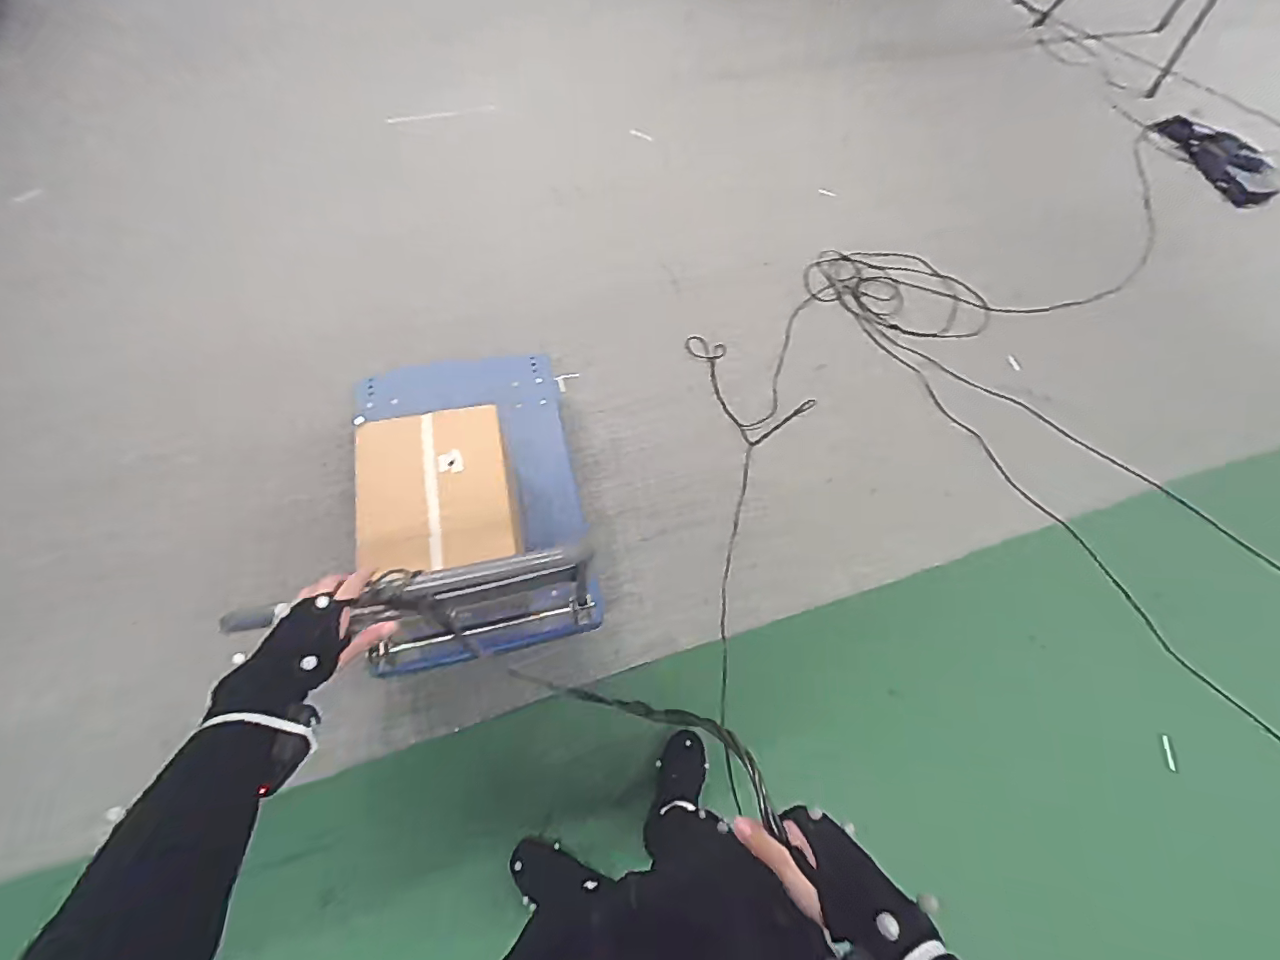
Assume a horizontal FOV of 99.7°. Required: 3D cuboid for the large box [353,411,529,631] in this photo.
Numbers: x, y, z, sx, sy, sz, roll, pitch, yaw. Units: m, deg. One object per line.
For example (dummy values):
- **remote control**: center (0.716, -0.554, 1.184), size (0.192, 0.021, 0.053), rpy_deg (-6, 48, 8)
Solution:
- **large box**: center (-0.461, 0.104, 1.289), size (0.320, 0.320, 0.408), rpy_deg (-9, 65, -10)
